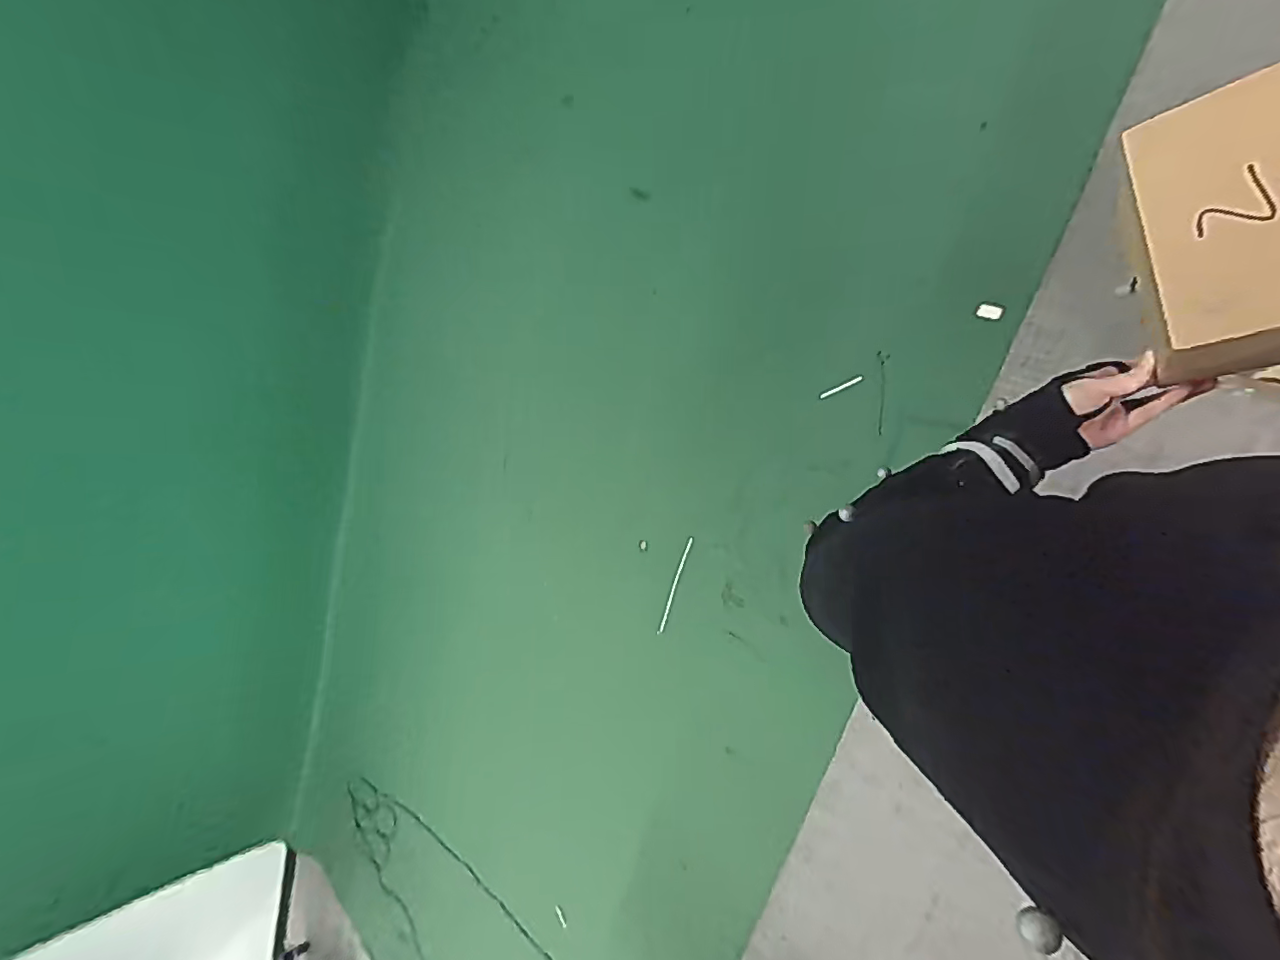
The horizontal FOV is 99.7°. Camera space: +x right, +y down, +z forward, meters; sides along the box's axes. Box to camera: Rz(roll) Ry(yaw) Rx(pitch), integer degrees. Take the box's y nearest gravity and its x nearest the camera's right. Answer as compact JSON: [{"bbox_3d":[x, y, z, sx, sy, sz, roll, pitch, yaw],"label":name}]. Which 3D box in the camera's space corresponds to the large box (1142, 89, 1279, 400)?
[{"bbox_3d":[1.109,-0.352,0.884,0.320,0.320,0.408,25,105,35],"label":"large box"}]

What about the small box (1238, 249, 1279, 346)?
[{"bbox_3d":[0.944,-0.264,0.705,0.168,0.176,0.179,27,106,35],"label":"small box"}]
